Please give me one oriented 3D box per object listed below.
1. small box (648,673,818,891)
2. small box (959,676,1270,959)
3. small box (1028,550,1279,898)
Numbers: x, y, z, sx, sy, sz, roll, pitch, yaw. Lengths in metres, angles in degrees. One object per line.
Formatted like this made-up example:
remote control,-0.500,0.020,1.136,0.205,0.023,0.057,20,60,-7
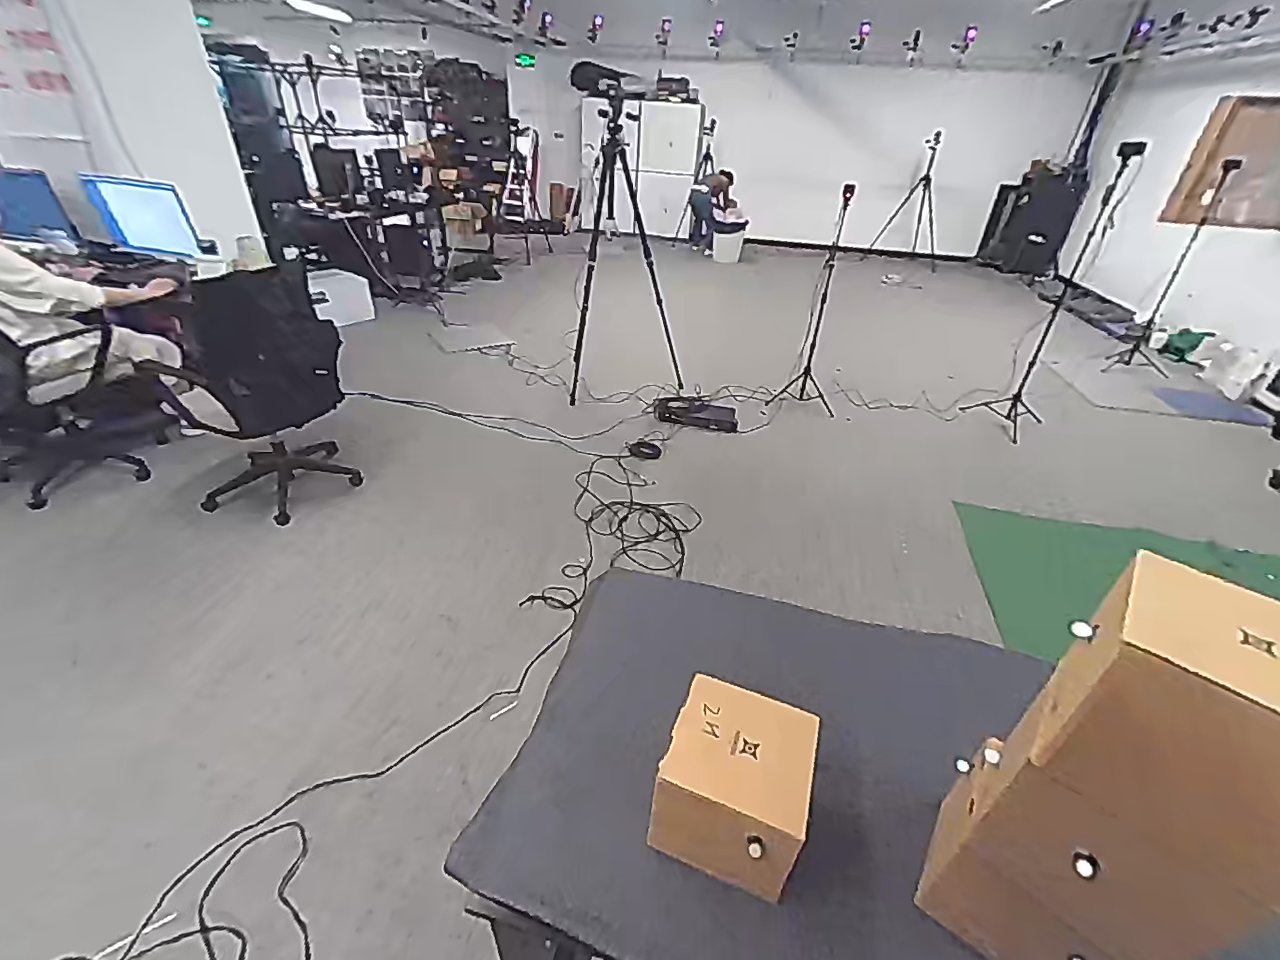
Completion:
small box,0.121,0.400,0.719,0.179,0.176,0.168,14,33,17
small box,0.468,0.334,0.549,0.168,0.176,0.179,-26,42,-38
small box,0.474,0.196,0.462,0.179,0.176,0.168,29,40,33
